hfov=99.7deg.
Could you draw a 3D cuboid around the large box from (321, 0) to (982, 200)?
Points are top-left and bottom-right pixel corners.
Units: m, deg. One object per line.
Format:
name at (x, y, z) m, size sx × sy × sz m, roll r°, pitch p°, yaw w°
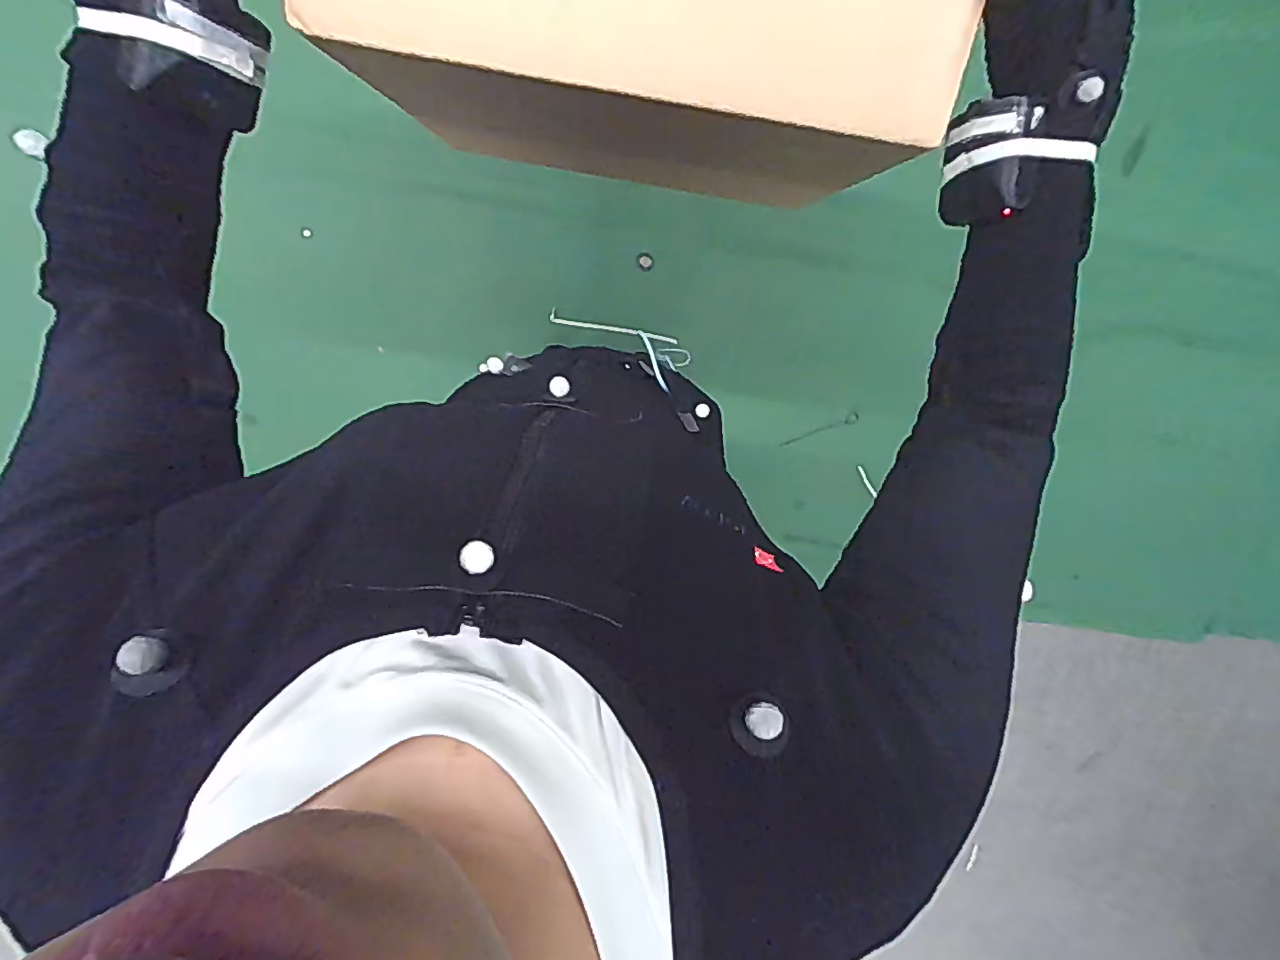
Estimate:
large box at (0.019, -0.442, 0.429) m, size 0.408 × 0.320 × 0.320 m, roll 8°, pitch 110°, yaw -5°
